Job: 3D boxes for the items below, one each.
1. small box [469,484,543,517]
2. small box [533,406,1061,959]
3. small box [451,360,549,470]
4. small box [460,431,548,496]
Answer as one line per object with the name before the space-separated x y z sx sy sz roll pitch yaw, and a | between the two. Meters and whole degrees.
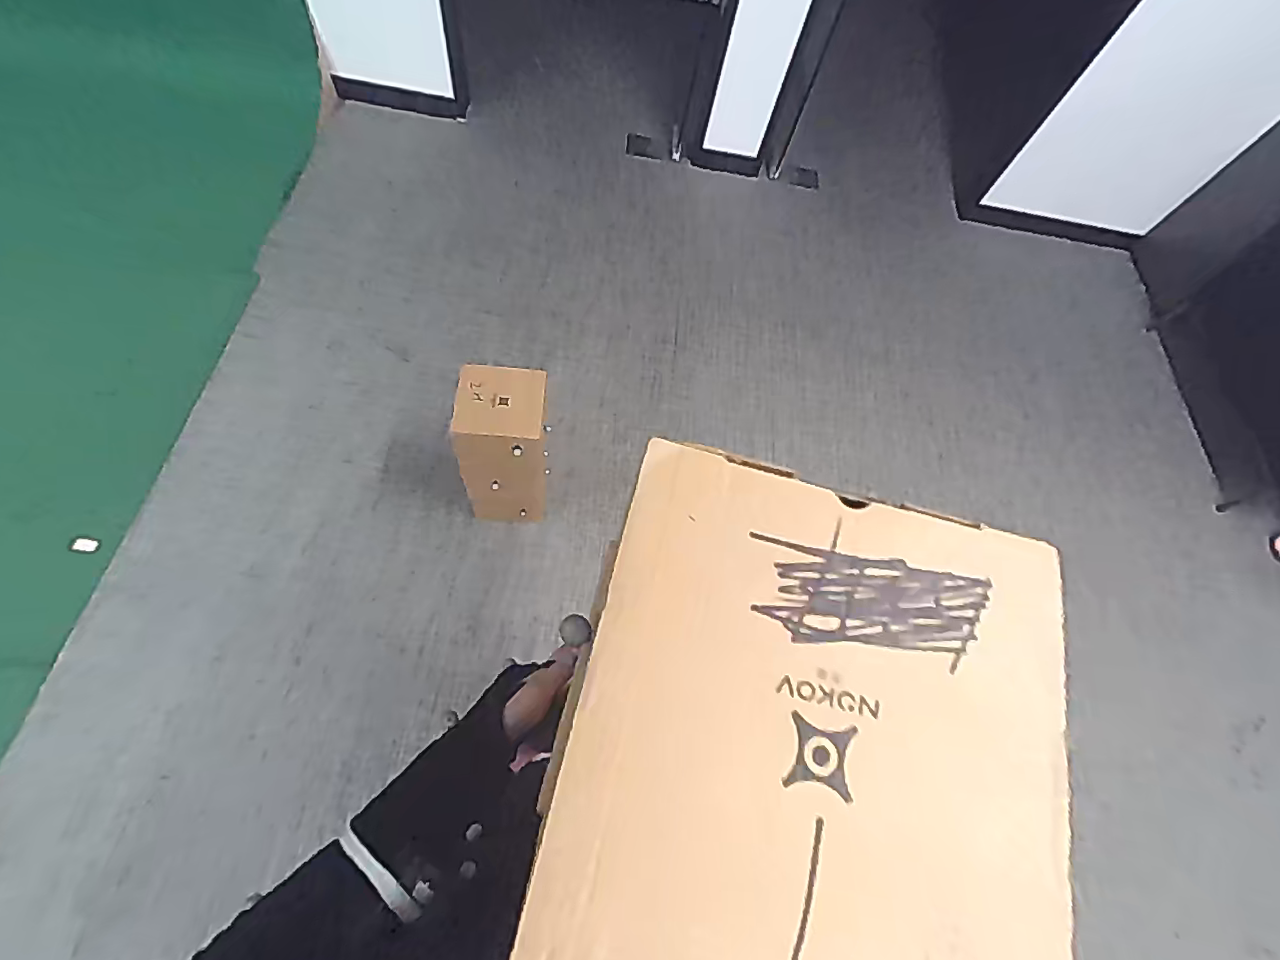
small box | -0.348 -0.005 1.451 0.179 0.176 0.168 3 65 -6
small box | 0.057 0.095 0.263 0.168 0.176 0.179 15 71 0
small box | -0.289 -0.132 1.153 0.179 0.176 0.168 4 64 -7
small box | -0.320 -0.067 1.302 0.179 0.176 0.168 3 65 -6
